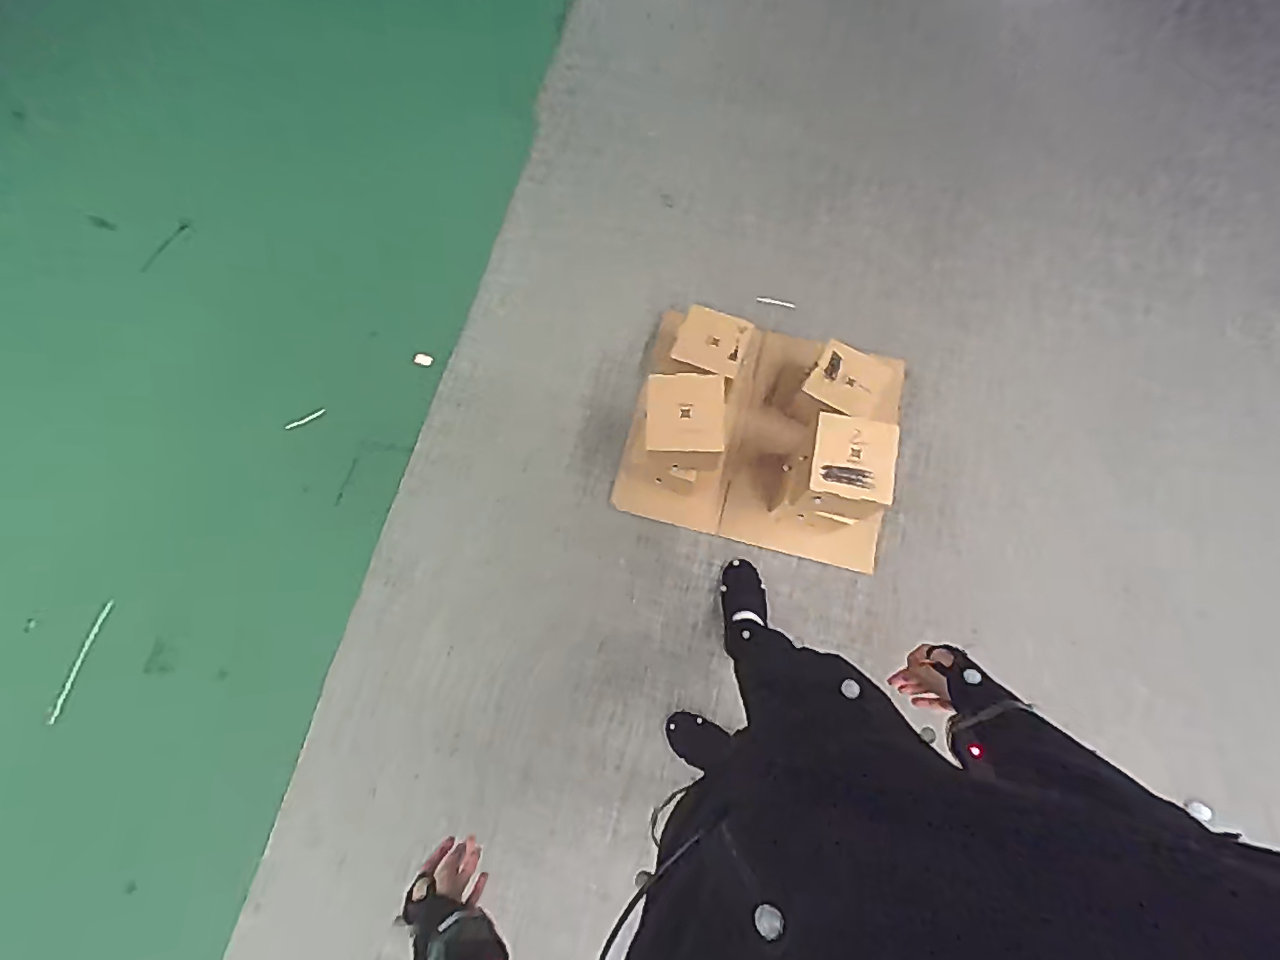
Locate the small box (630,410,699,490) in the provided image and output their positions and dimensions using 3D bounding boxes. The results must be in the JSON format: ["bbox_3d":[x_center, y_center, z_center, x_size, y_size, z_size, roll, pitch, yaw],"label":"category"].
[{"bbox_3d":[0.083,-0.088,1.374,0.168,0.176,0.179,19,77,6],"label":"small box"}]

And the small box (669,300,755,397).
[{"bbox_3d":[0.185,-0.339,1.432,0.179,0.176,0.168,20,77,8],"label":"small box"}]

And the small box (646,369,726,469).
[{"bbox_3d":[0.100,-0.132,1.216,0.168,0.176,0.179,2,76,3],"label":"small box"}]

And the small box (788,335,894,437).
[{"bbox_3d":[0.506,-0.232,1.390,0.179,0.176,0.168,30,79,8],"label":"small box"}]

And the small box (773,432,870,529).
[{"bbox_3d":[0.439,0.010,1.335,0.168,0.176,0.179,18,77,6],"label":"small box"}]
